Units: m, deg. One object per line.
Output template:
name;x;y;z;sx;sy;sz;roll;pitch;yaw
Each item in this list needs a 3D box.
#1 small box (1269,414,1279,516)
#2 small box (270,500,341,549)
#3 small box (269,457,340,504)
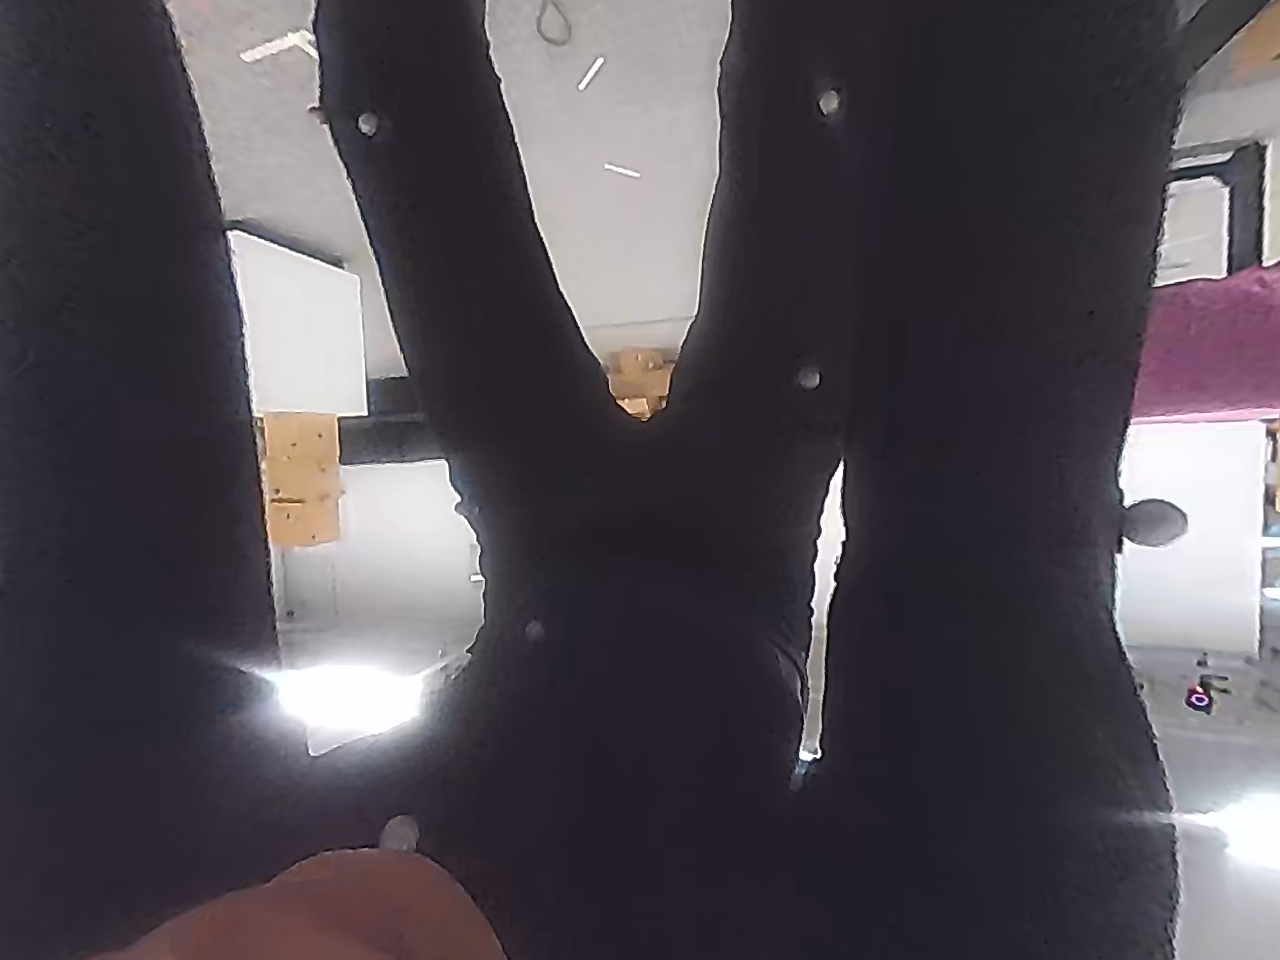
small box;1.082;-0.022;0.777;0.179;0.176;0.168;-1;-177;19
small box;-1.280;0.163;2.073;0.168;0.176;0.179;1;-176;14
small box;-1.283;-0.001;2.070;0.179;0.176;0.168;0;-175;13
